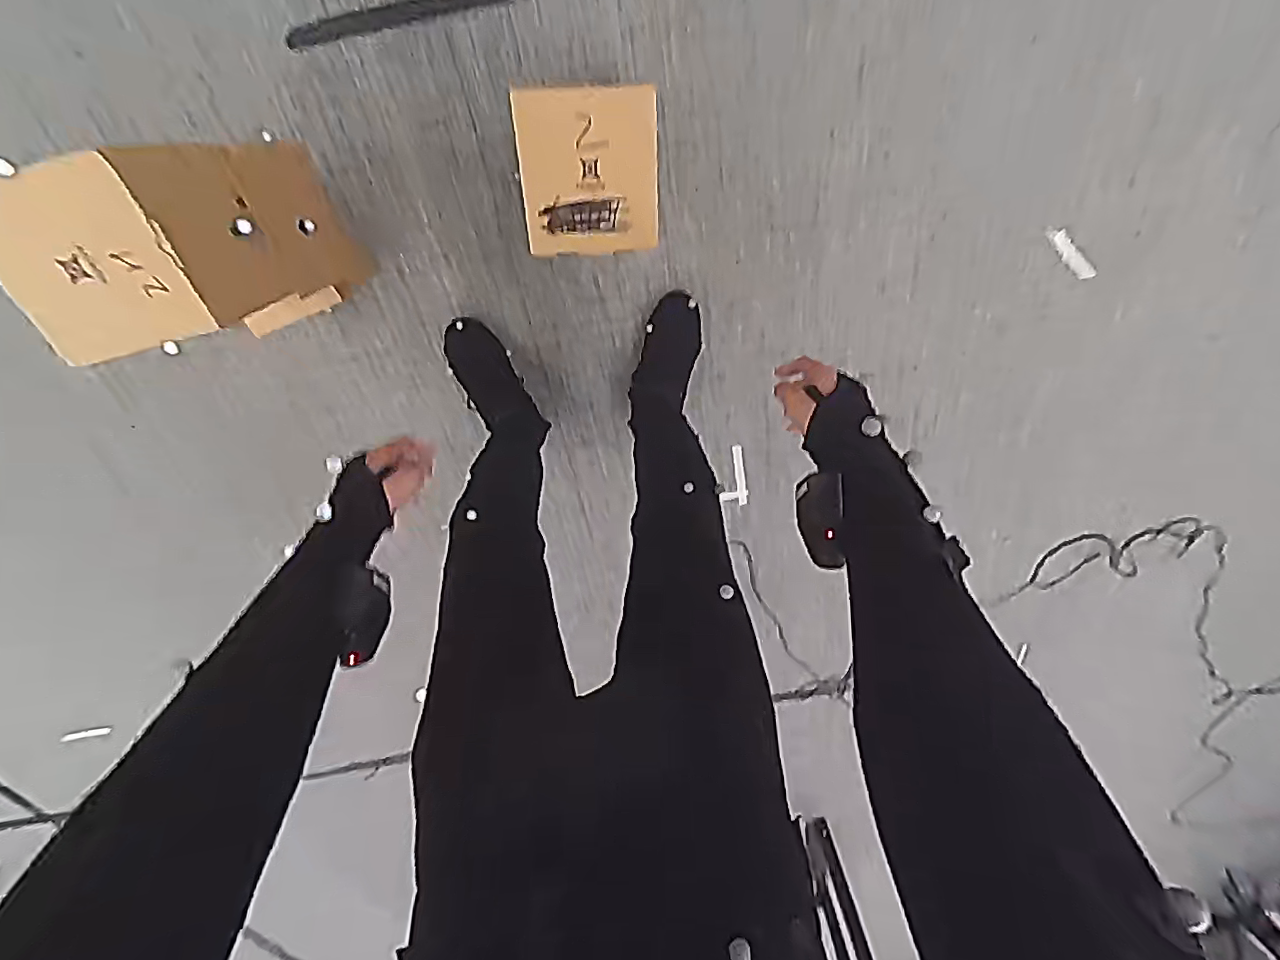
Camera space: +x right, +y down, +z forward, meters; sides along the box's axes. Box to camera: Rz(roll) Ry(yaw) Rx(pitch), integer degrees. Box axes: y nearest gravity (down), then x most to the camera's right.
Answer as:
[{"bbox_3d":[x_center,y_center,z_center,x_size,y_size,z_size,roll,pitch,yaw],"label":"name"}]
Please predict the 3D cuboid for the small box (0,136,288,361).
[{"bbox_3d":[-0.528,-0.247,0.571,0.179,0.176,0.168,-13,123,4],"label":"small box"}]

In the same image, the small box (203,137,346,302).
[{"bbox_3d":[-0.524,-0.339,0.708,0.168,0.176,0.179,-6,124,0],"label":"small box"}]

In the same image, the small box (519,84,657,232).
[{"bbox_3d":[-0.075,-0.498,0.842,0.179,0.176,0.168,-10,124,0],"label":"small box"}]

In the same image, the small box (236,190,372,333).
[{"bbox_3d":[-0.578,-0.370,0.878,0.168,0.176,0.179,-19,123,8],"label":"small box"}]
